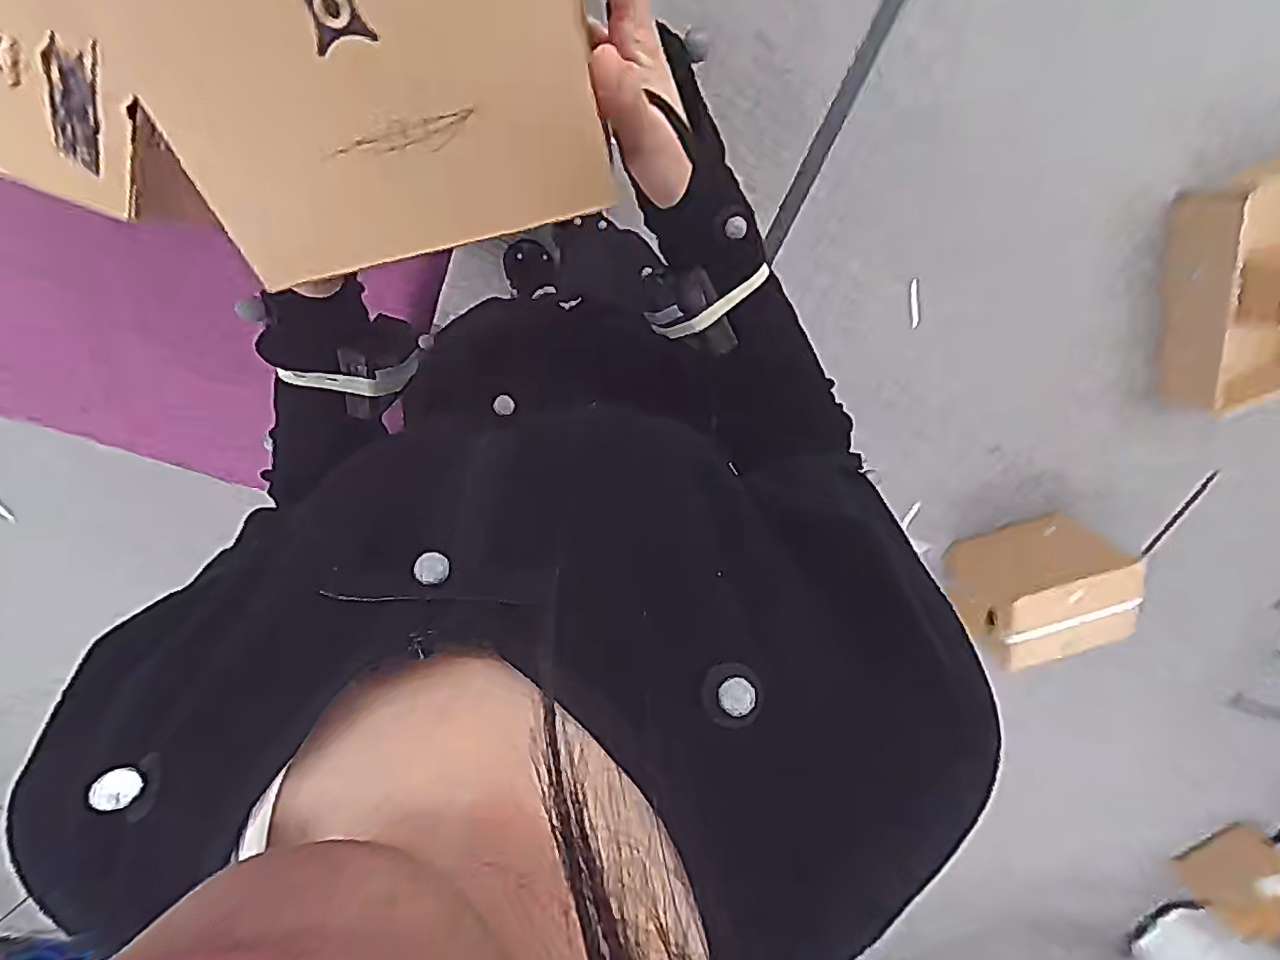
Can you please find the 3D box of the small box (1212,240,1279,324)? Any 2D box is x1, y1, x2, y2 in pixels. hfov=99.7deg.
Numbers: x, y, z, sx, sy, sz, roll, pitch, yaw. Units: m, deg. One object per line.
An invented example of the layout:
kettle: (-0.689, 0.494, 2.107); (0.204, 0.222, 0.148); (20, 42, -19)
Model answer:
small box: (1.715, -0.536, 1.449); (0.179, 0.176, 0.168); (-19, 116, 1)

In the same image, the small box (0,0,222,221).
small box: (-0.472, -0.343, 0.463); (0.179, 0.176, 0.168); (19, 111, -15)

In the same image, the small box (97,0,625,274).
small box: (-0.105, -0.220, 0.243); (0.168, 0.176, 0.179); (-9, 131, 5)
